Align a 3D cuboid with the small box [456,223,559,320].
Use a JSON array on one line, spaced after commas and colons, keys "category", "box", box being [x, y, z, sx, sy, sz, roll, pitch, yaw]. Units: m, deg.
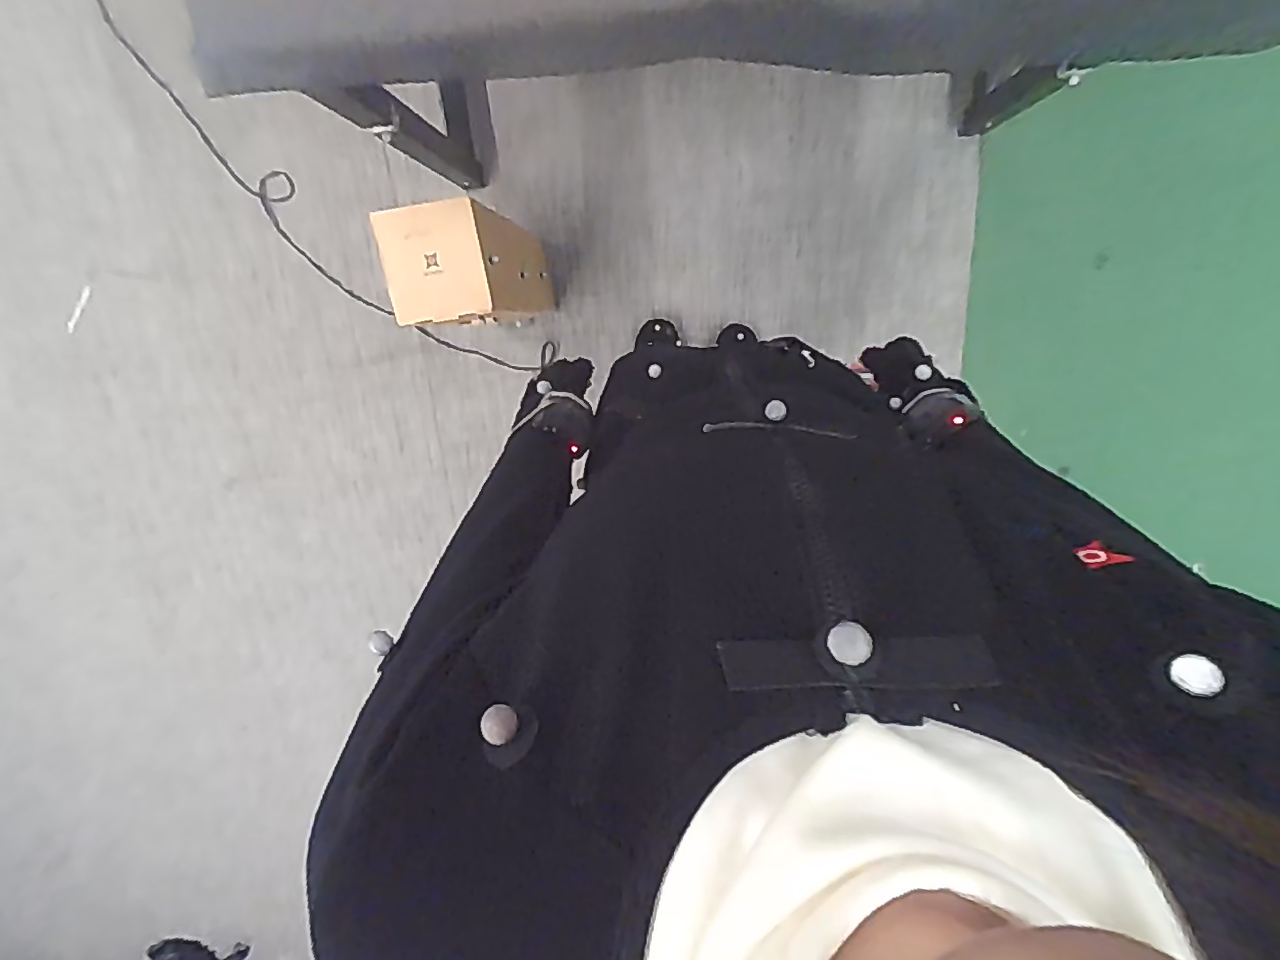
[{"category": "small box", "box": [-0.298, -0.473, 1.248, 0.168, 0.176, 0.179, -10, 107, 7]}]
